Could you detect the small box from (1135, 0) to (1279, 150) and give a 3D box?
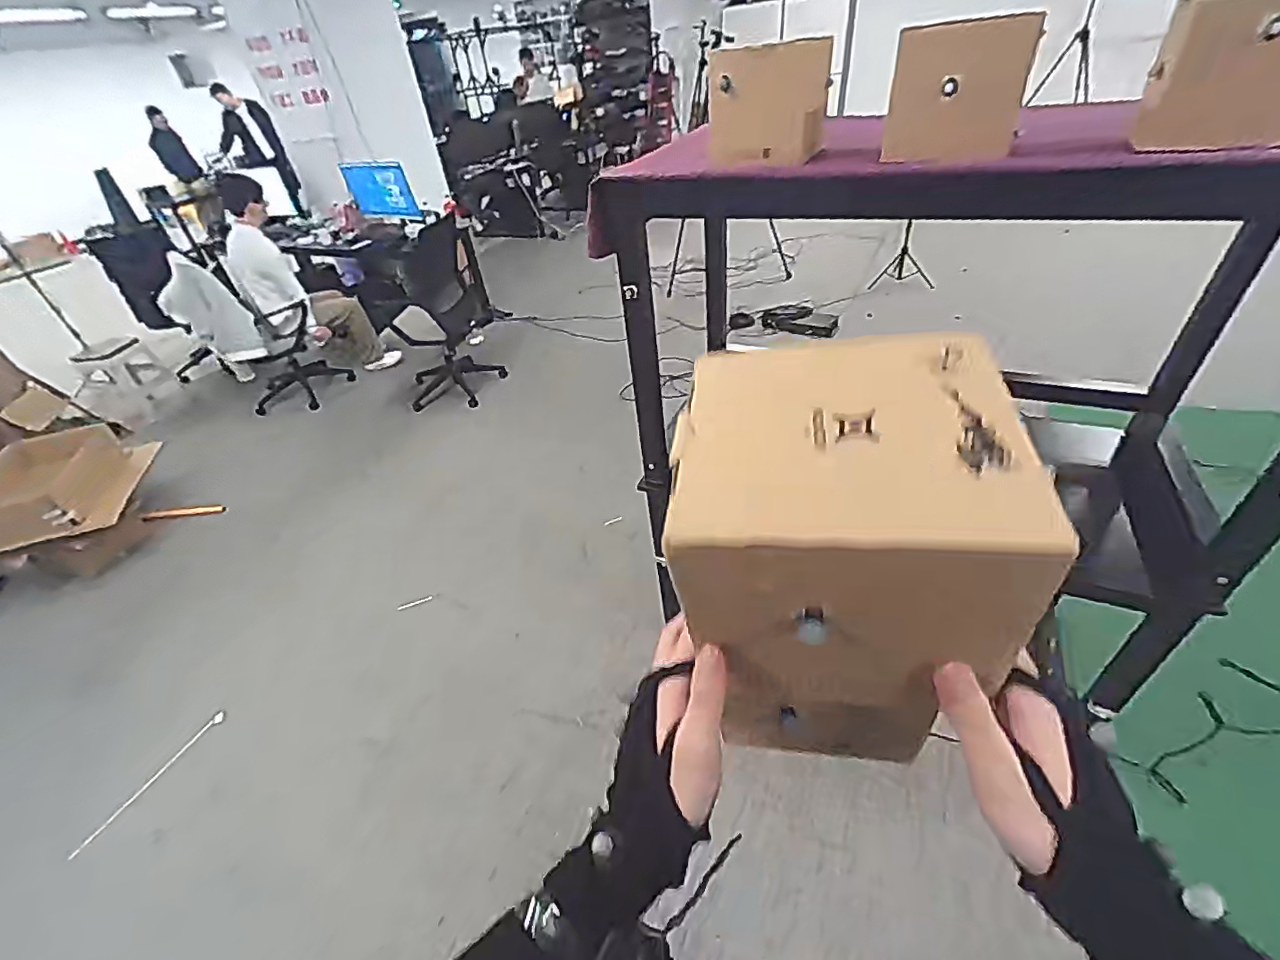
[{"bbox_3d":[0.781,-0.536,0.698,0.179,0.176,0.168,16,44,28],"label":"small box"}]

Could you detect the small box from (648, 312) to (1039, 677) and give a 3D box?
[{"bbox_3d":[0.120,0.014,0.358,0.179,0.176,0.168,-2,46,17],"label":"small box"}]

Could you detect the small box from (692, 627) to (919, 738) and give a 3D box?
[{"bbox_3d":[0.149,0.112,0.489,0.168,0.176,0.179,-1,46,16],"label":"small box"}]

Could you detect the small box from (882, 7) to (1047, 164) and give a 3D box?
[{"bbox_3d":[0.486,-0.593,0.821,0.179,0.176,0.168,14,43,27],"label":"small box"}]
